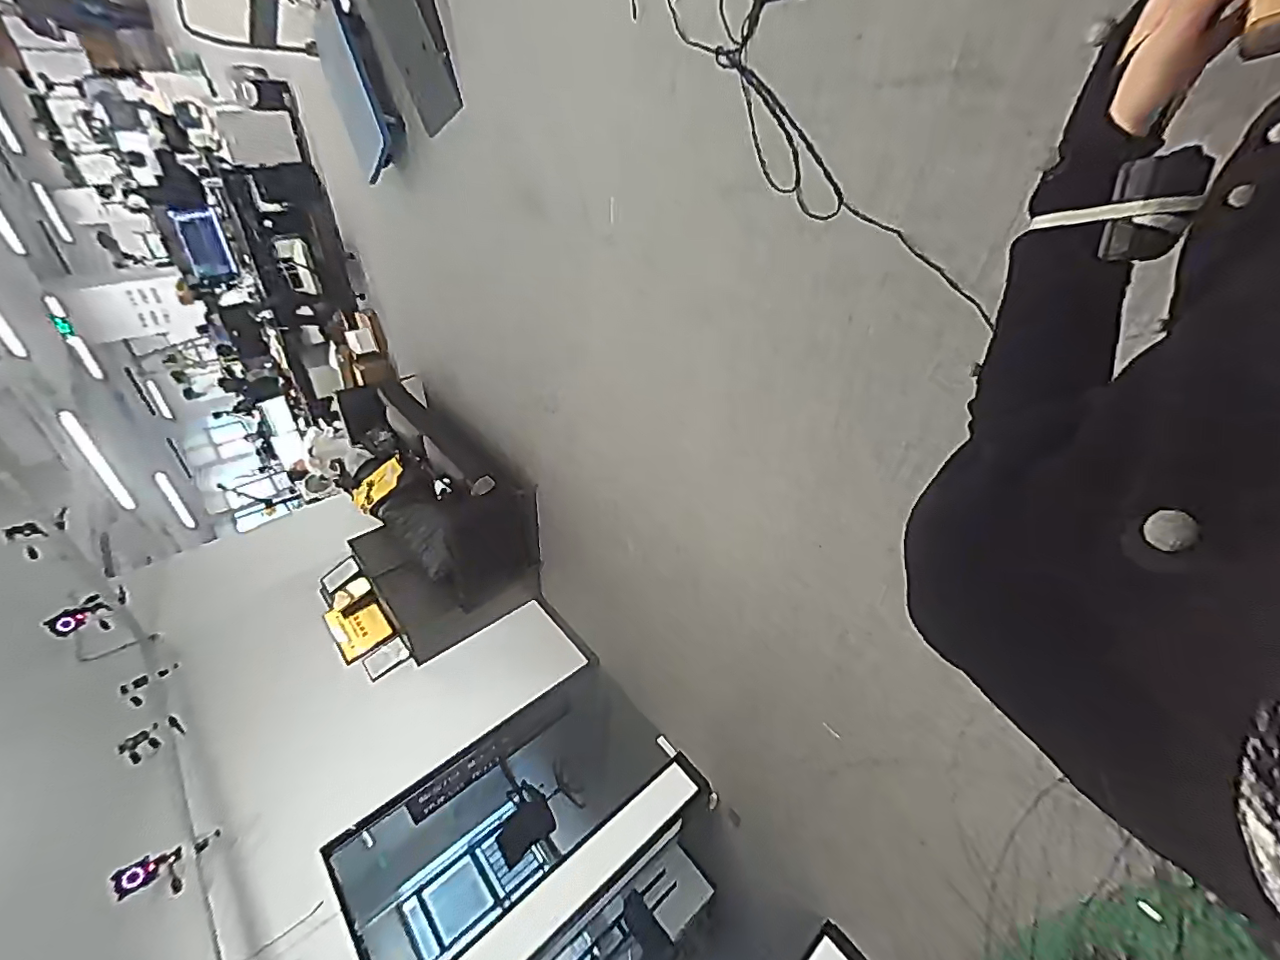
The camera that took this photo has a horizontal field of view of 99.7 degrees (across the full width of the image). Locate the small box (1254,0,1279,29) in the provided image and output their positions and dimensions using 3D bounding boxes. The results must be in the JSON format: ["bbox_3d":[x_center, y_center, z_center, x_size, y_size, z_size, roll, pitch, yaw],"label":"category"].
[{"bbox_3d":[0.373,-0.319,0.212,0.168,0.176,0.179,6,120,46],"label":"small box"}]
